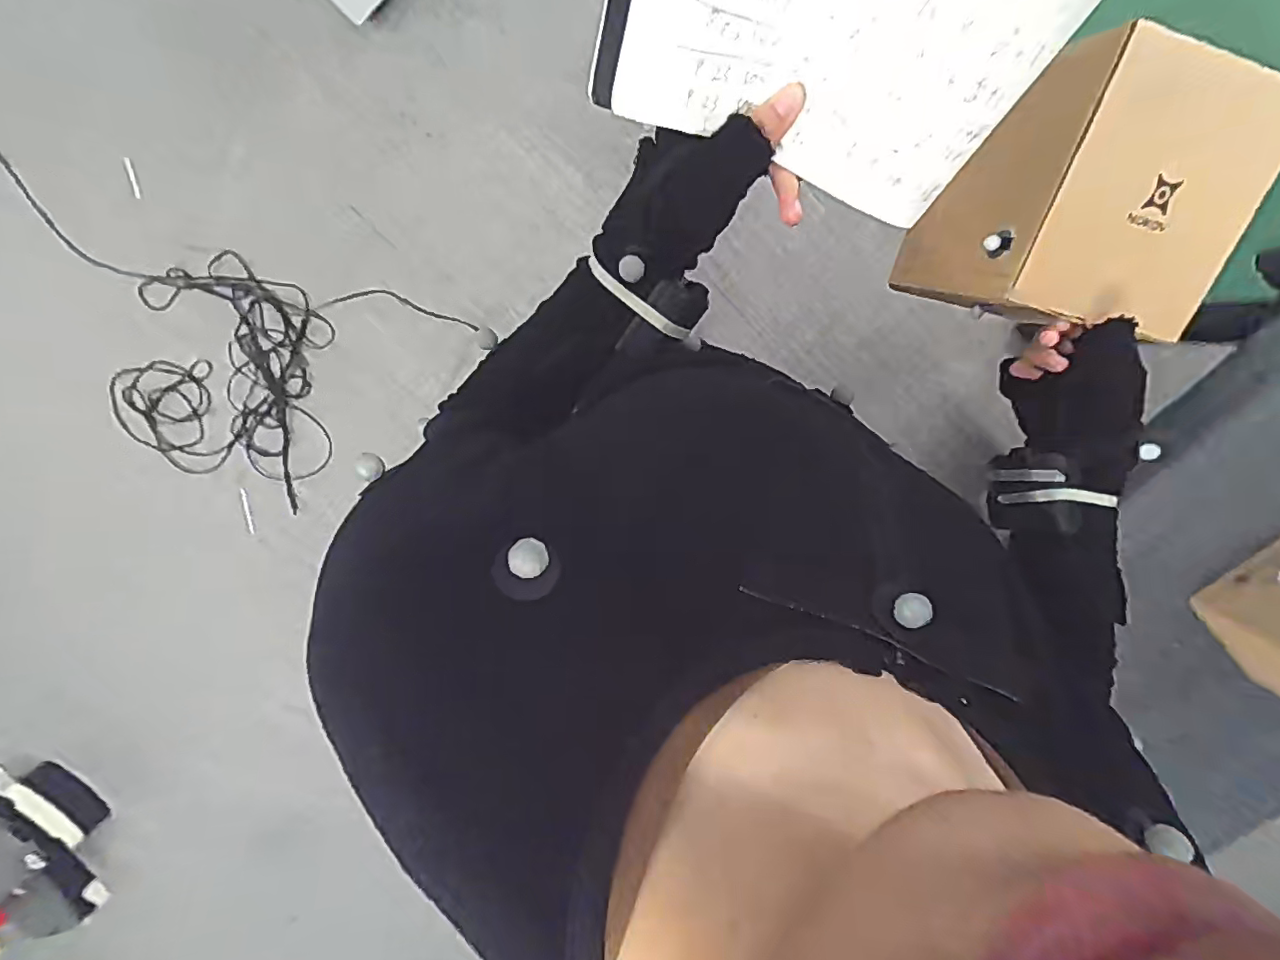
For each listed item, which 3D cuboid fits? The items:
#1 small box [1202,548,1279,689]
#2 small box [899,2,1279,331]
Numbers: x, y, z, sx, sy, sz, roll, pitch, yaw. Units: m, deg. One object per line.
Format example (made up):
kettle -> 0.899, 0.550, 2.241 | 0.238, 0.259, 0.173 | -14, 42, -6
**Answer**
small box -> 0.889, 0.198, 0.672 | 0.168, 0.176, 0.179 | -44, 99, 12
small box -> 0.356, -0.240, 0.454 | 0.168, 0.176, 0.179 | 8, 113, -12
